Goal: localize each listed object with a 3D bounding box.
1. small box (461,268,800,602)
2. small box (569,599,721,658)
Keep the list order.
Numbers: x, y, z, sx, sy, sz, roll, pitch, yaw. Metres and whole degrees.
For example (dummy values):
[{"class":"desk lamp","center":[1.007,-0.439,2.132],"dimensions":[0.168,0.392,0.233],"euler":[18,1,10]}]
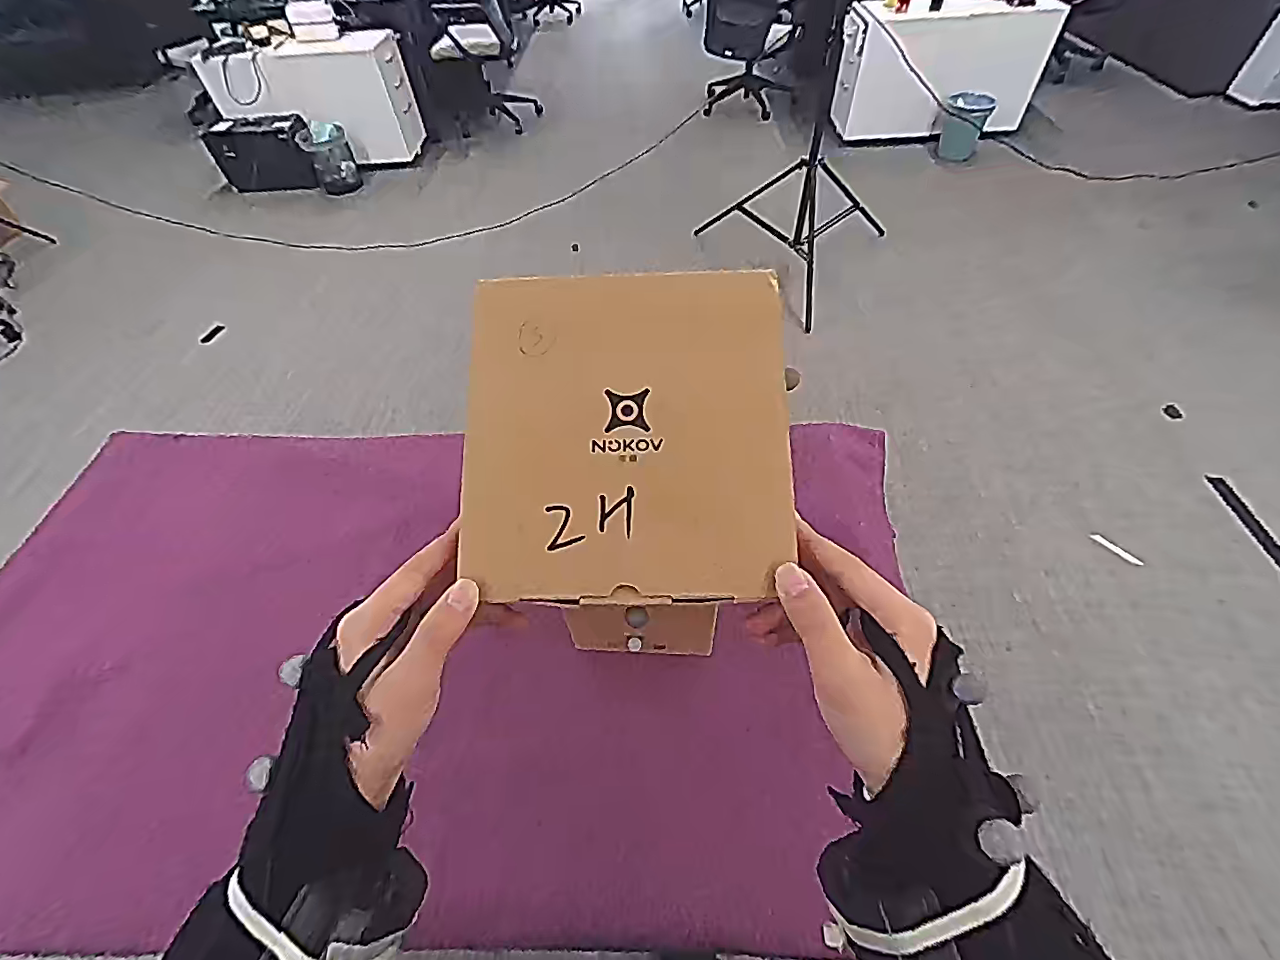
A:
[{"class":"small box","center":[-0.001,-0.013,0.355],"dimensions":[0.168,0.176,0.179],"euler":[-1,76,3]},{"class":"small box","center":[0.008,0.092,0.644],"dimensions":[0.168,0.176,0.179],"euler":[1,52,5]}]
